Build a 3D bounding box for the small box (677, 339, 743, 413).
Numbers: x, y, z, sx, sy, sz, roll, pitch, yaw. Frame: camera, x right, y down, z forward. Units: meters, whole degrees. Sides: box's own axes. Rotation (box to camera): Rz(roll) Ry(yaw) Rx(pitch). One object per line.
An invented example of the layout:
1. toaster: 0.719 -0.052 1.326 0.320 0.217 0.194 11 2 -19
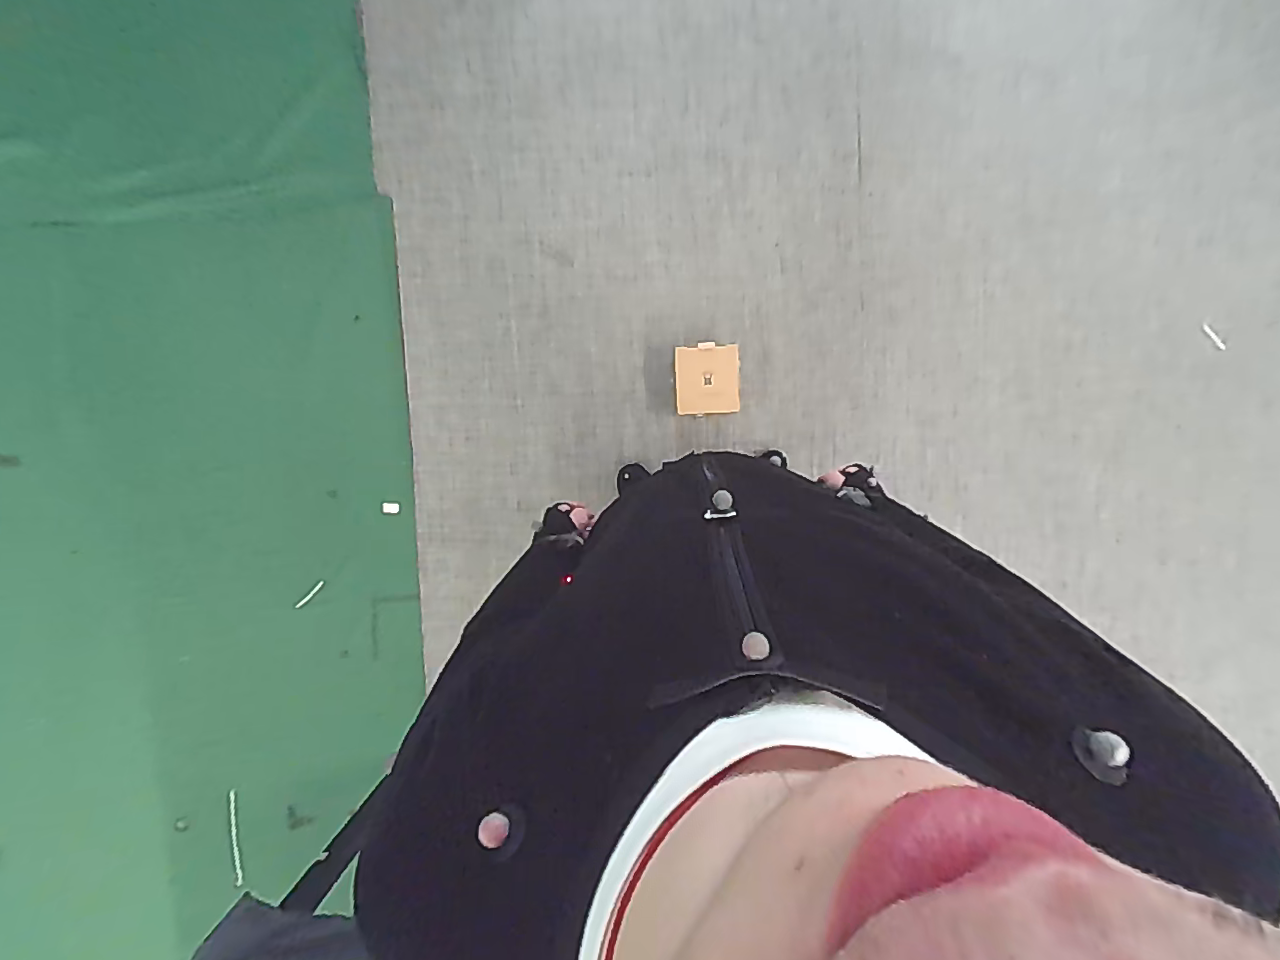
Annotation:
1. small box: 0.184 -0.275 1.458 0.168 0.176 0.179 0 94 5
